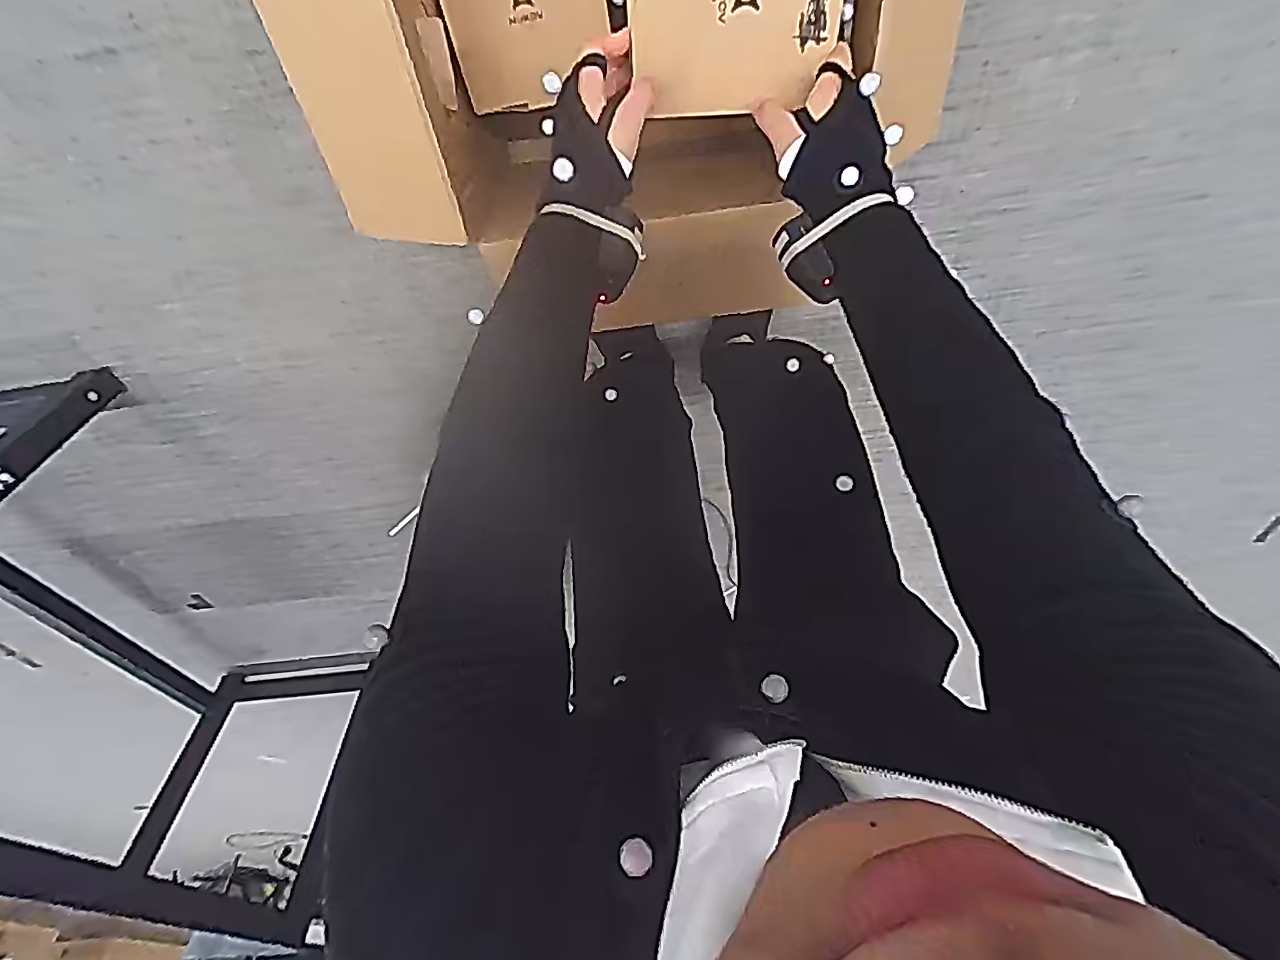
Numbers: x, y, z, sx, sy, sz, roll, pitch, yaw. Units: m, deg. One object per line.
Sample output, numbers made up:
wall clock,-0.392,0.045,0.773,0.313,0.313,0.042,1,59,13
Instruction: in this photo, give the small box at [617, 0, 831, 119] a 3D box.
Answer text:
small box,0.072,-0.444,0.495,0.179,0.176,0.168,0,134,3

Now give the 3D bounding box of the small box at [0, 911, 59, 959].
small box,-1.125,0.808,0.864,0.179,0.176,0.168,-6,135,3

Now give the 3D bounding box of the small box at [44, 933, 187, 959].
small box,-1.069,1.010,1.065,0.168,0.176,0.179,-11,134,9
